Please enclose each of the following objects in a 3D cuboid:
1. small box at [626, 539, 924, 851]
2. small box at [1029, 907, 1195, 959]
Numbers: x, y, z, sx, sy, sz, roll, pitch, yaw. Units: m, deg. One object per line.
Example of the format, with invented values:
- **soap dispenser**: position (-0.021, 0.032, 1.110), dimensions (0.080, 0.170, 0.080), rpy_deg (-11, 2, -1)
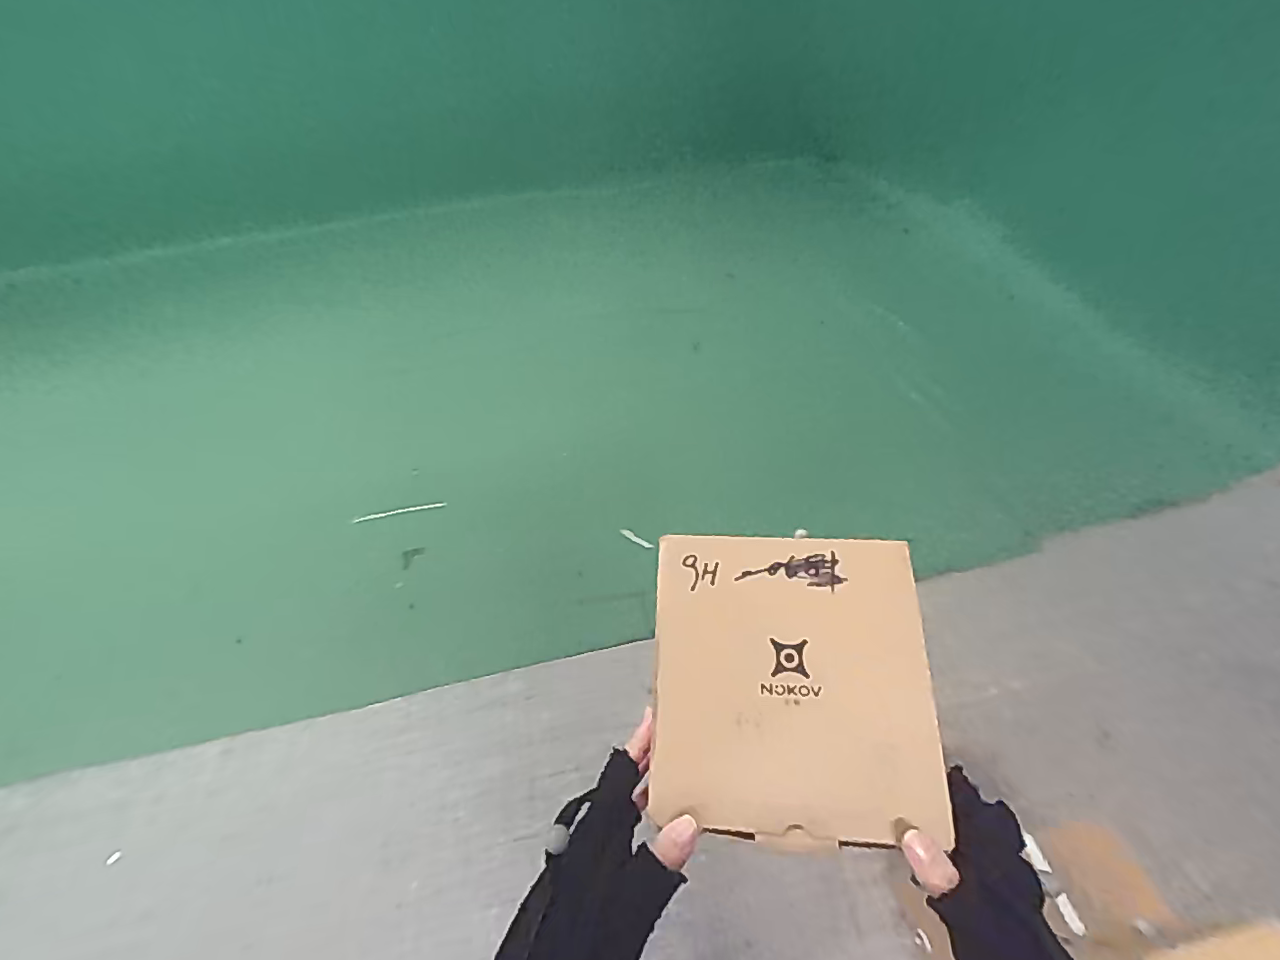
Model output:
- **small box**: position (0.085, 0.151, 0.404), dimensions (0.168, 0.176, 0.179), rpy_deg (-1, 66, 6)
- **small box**: position (0.663, 0.688, 0.704), dimensions (0.168, 0.176, 0.179), rpy_deg (-13, 50, -3)
